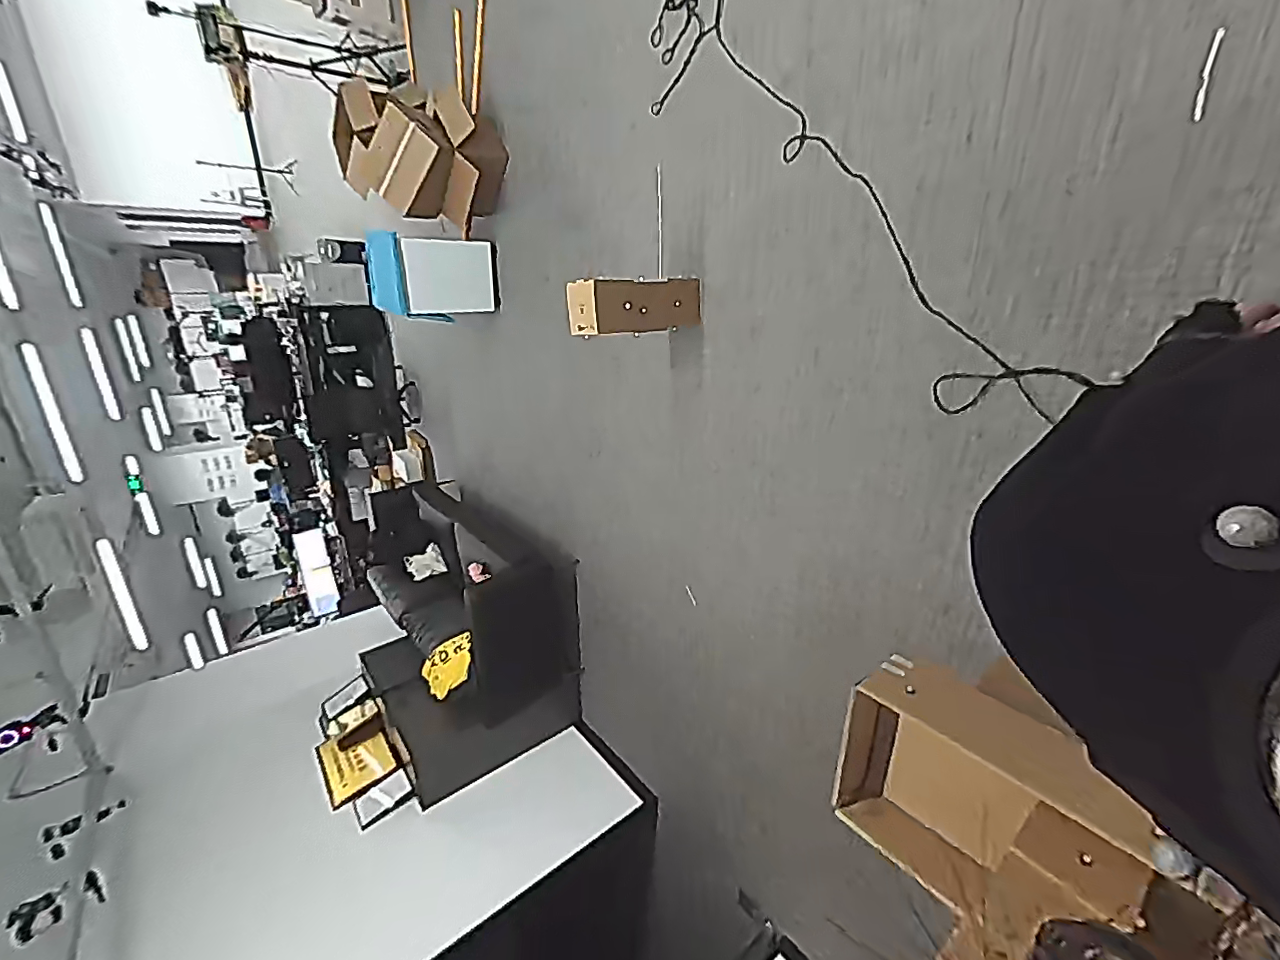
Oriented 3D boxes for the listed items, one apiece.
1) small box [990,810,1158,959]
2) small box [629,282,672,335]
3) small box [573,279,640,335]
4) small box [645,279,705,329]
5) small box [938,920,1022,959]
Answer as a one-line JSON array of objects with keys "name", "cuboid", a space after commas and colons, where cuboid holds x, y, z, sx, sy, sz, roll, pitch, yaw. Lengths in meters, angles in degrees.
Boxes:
[{"name": "small box", "cuboid": [0.781, 0.741, 0.978, 0.179, 0.176, 0.168, 26, 122, 48]}, {"name": "small box", "cuboid": [0.006, -0.632, 1.987, 0.168, 0.176, 0.179, 20, 118, 48]}, {"name": "small box", "cuboid": [-0.113, -0.598, 1.879, 0.168, 0.176, 0.179, 18, 116, 49]}, {"name": "small box", "cuboid": [0.135, -0.677, 2.079, 0.168, 0.176, 0.179, 21, 118, 49]}, {"name": "small box", "cuboid": [0.520, 0.827, 0.802, 0.168, 0.176, 0.179, 22, 119, 49]}]
